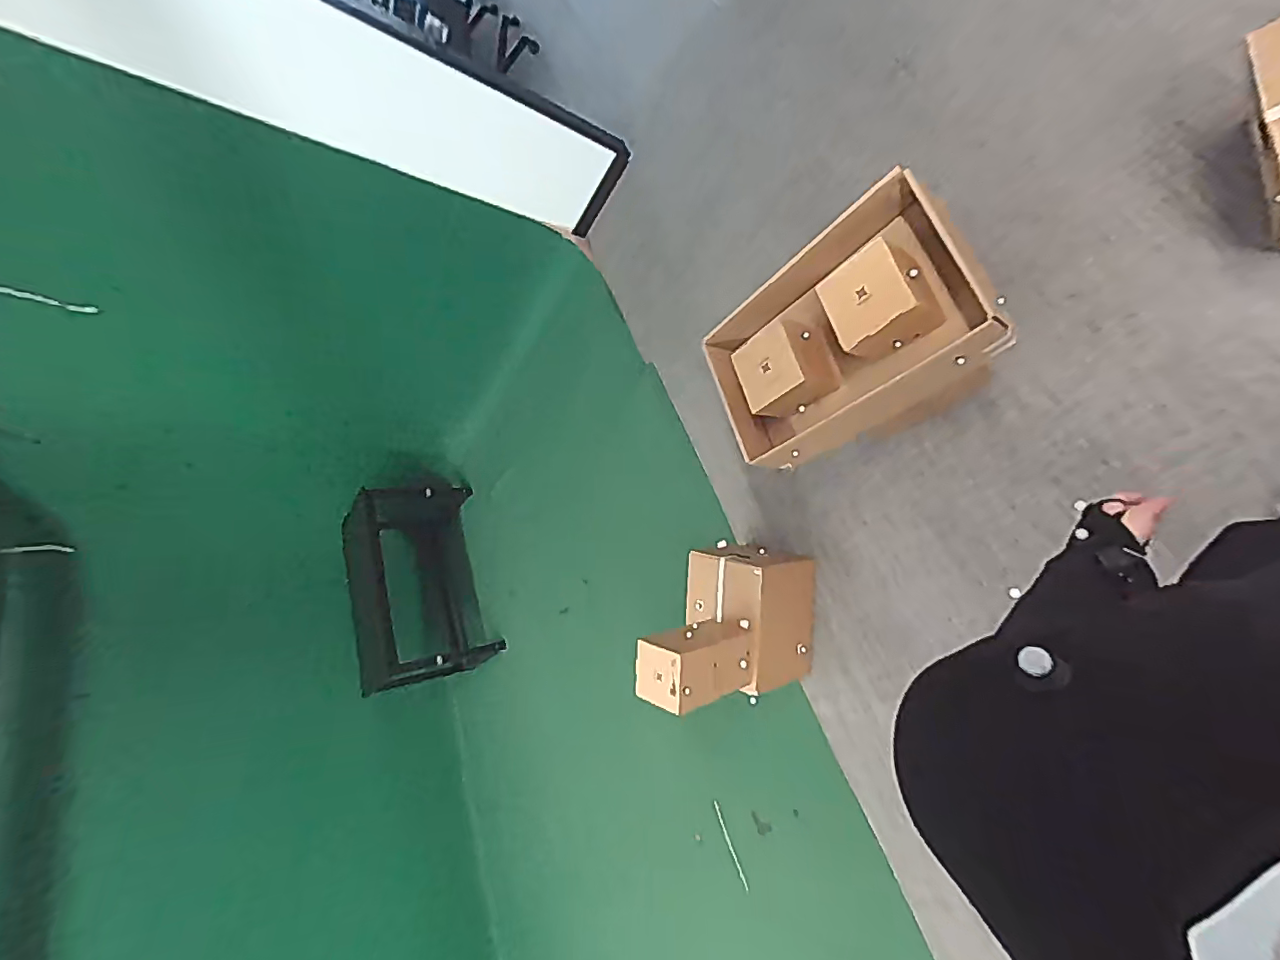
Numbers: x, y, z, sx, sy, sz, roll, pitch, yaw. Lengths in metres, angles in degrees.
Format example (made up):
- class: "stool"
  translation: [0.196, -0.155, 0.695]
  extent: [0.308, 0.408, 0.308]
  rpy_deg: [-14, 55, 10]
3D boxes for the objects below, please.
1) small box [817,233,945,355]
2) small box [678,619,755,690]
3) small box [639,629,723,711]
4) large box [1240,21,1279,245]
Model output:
- class: "small box"
  translation: [0.527, -0.396, 1.182]
  extent: [0.168, 0.176, 0.179]
  rpy_deg: [-34, 67, 43]
- class: "small box"
  translation: [0.231, 0.536, 1.673]
  extent: [0.179, 0.176, 0.168]
  rpy_deg: [4, 93, 47]
- class: "small box"
  translation: [0.117, 0.536, 1.555]
  extent: [0.179, 0.176, 0.168]
  rpy_deg: [3, 92, 48]
- class: "large box"
  translation: [1.286, -0.638, 0.856]
  extent: [0.408, 0.320, 0.320]
  rpy_deg: [-14, 80, 49]
